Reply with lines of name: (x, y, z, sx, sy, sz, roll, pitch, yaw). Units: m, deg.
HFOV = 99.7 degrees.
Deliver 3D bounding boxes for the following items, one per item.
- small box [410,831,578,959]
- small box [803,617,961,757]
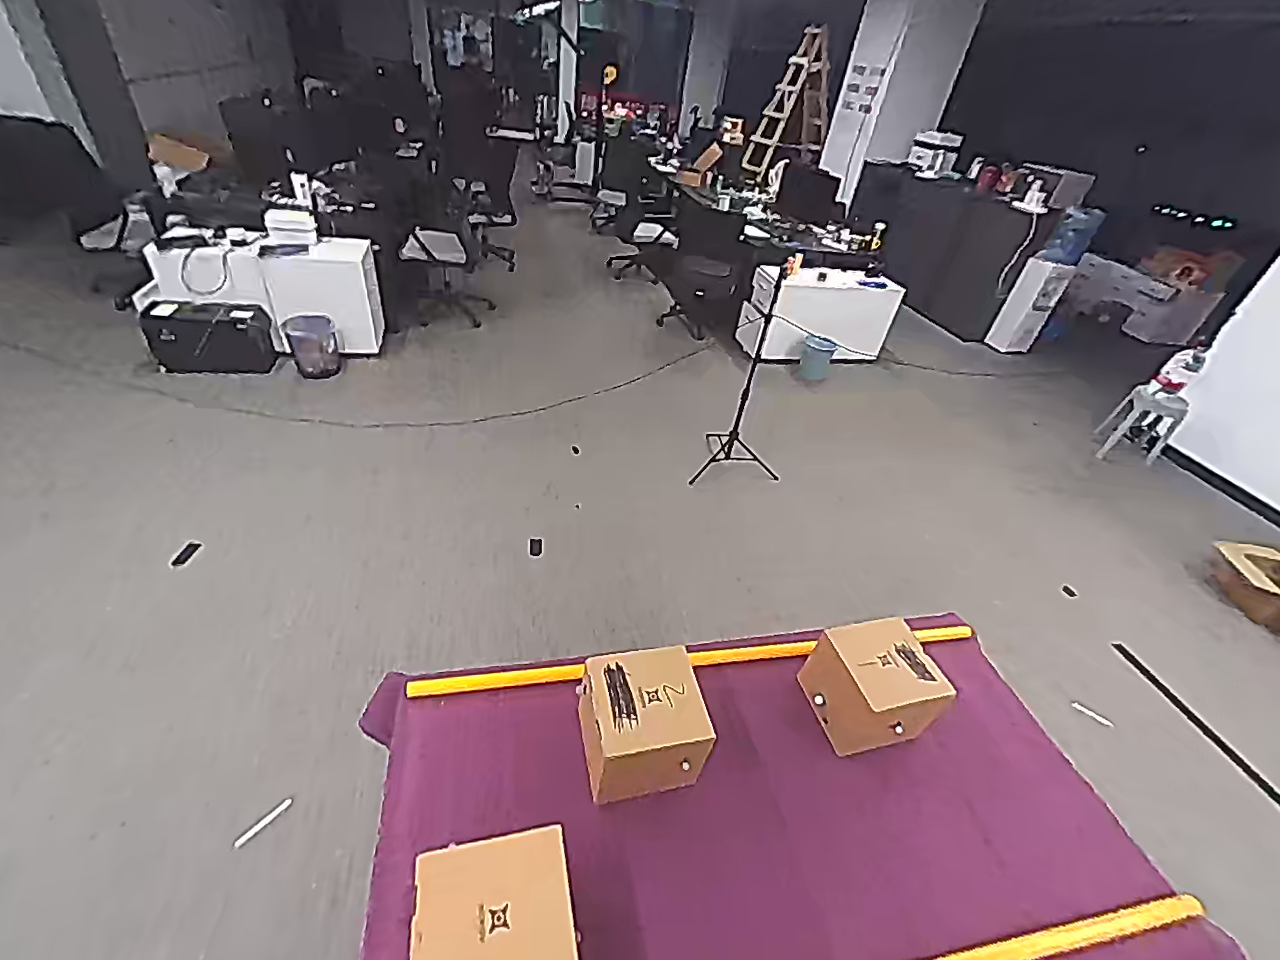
small box: (-0.175, 0.559, 0.650, 0.179, 0.176, 0.168, -2, 38, -16)
small box: (0.434, 0.381, 1.000, 0.179, 0.176, 0.168, -5, 41, -16)
